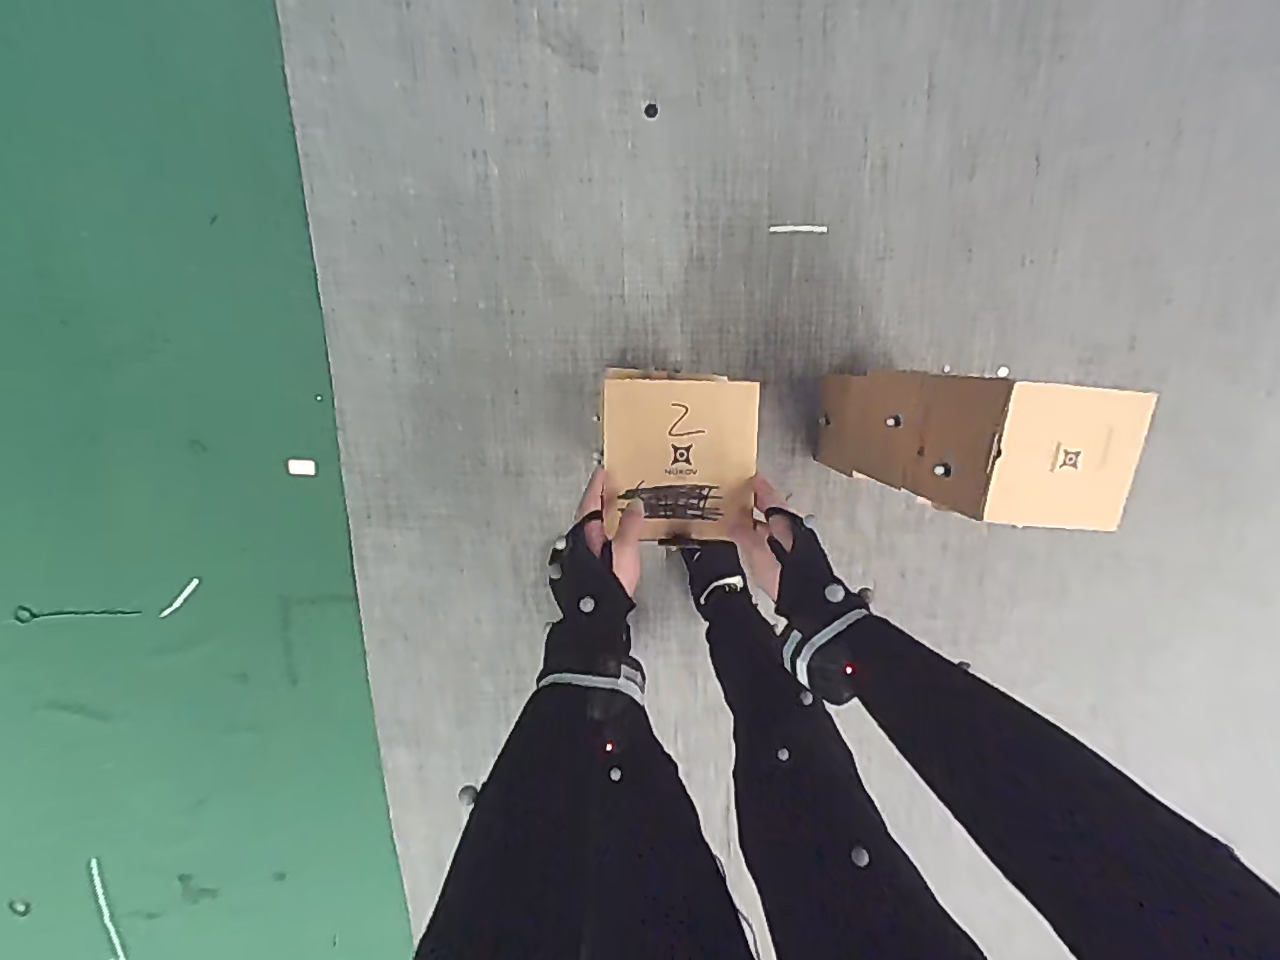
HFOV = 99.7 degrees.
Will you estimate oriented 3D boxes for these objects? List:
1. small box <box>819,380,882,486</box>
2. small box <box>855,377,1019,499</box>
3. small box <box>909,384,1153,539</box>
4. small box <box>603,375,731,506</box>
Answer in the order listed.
[{"bbox_3d":[0.451,-0.093,1.017,0.168,0.176,0.179,0,103,-5],"label":"small box"},{"bbox_3d":[0.463,-0.068,0.855,0.168,0.176,0.179,5,102,-4],"label":"small box"},{"bbox_3d":[0.480,-0.033,0.696,0.179,0.176,0.168,4,102,-5],"label":"small box"},{"bbox_3d":[0.032,-0.068,0.826,0.168,0.176,0.179,3,102,-5],"label":"small box"}]
